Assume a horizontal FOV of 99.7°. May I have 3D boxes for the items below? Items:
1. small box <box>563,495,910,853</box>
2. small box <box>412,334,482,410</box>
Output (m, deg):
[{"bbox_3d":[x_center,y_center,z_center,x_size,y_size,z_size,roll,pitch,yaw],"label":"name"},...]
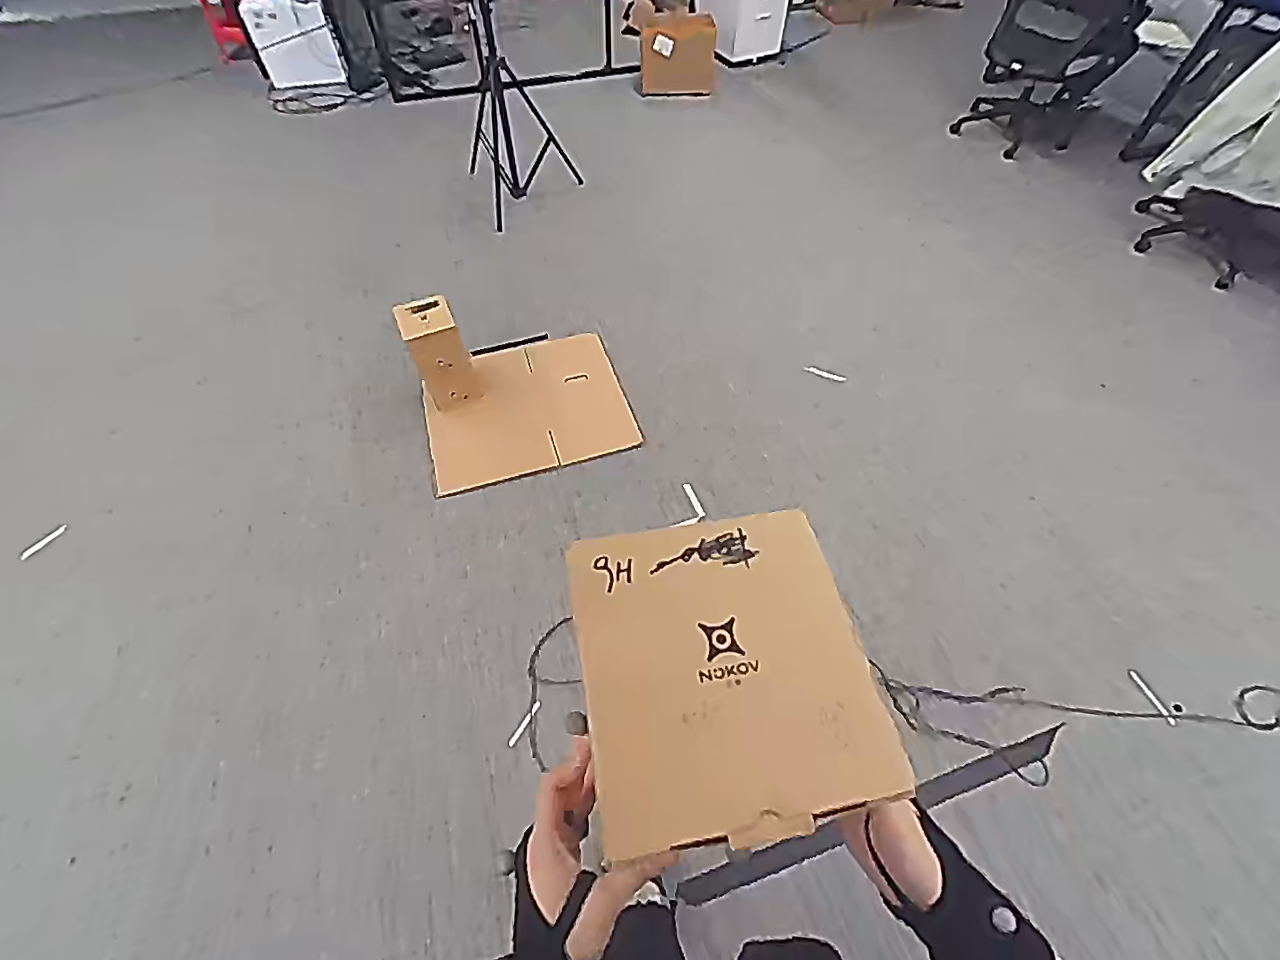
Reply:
[{"bbox_3d":[0.040,0.134,0.376,0.168,0.176,0.179,-7,59,-10],"label":"small box"},{"bbox_3d":[-0.682,-0.381,1.920,0.168,0.176,0.179,-24,59,-15],"label":"small box"}]
